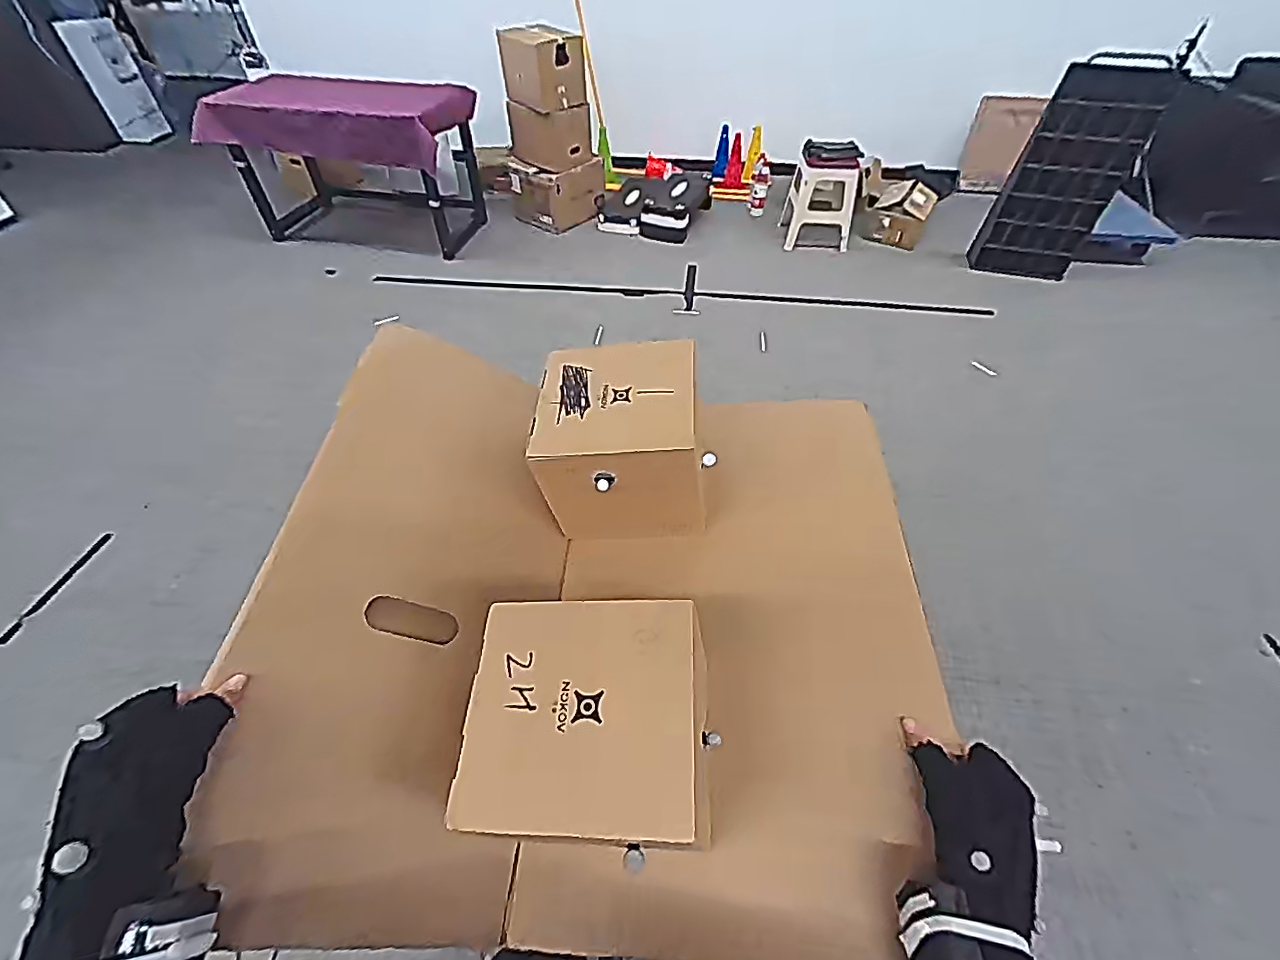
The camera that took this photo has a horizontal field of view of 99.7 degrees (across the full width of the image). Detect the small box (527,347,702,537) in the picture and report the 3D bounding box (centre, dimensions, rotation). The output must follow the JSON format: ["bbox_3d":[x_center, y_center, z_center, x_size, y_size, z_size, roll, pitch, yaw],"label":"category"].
[{"bbox_3d":[-0.017,-0.040,0.664,0.179,0.176,0.168,-2,54,9],"label":"small box"}]

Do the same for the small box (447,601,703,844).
[{"bbox_3d":[-0.035,0.217,0.479,0.179,0.176,0.168,-2,54,10],"label":"small box"}]
